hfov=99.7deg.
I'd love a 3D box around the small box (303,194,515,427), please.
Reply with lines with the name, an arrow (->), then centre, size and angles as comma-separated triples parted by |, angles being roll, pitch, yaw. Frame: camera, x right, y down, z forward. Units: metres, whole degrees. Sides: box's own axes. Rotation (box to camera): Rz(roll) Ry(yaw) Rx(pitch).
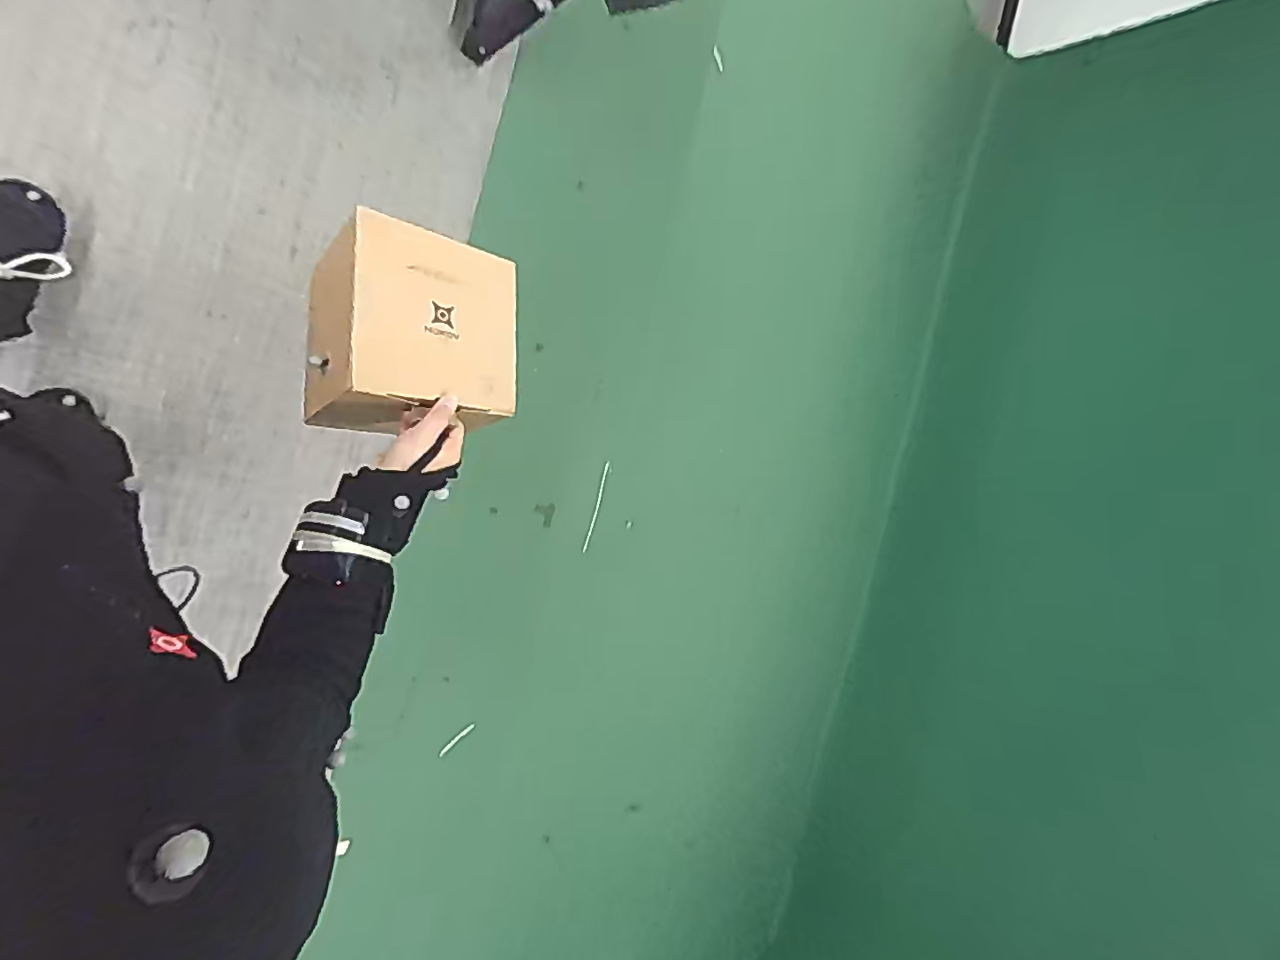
small box -> -0.252, -0.160, 0.588 | 0.168, 0.176, 0.179 | 2, 82, -44
